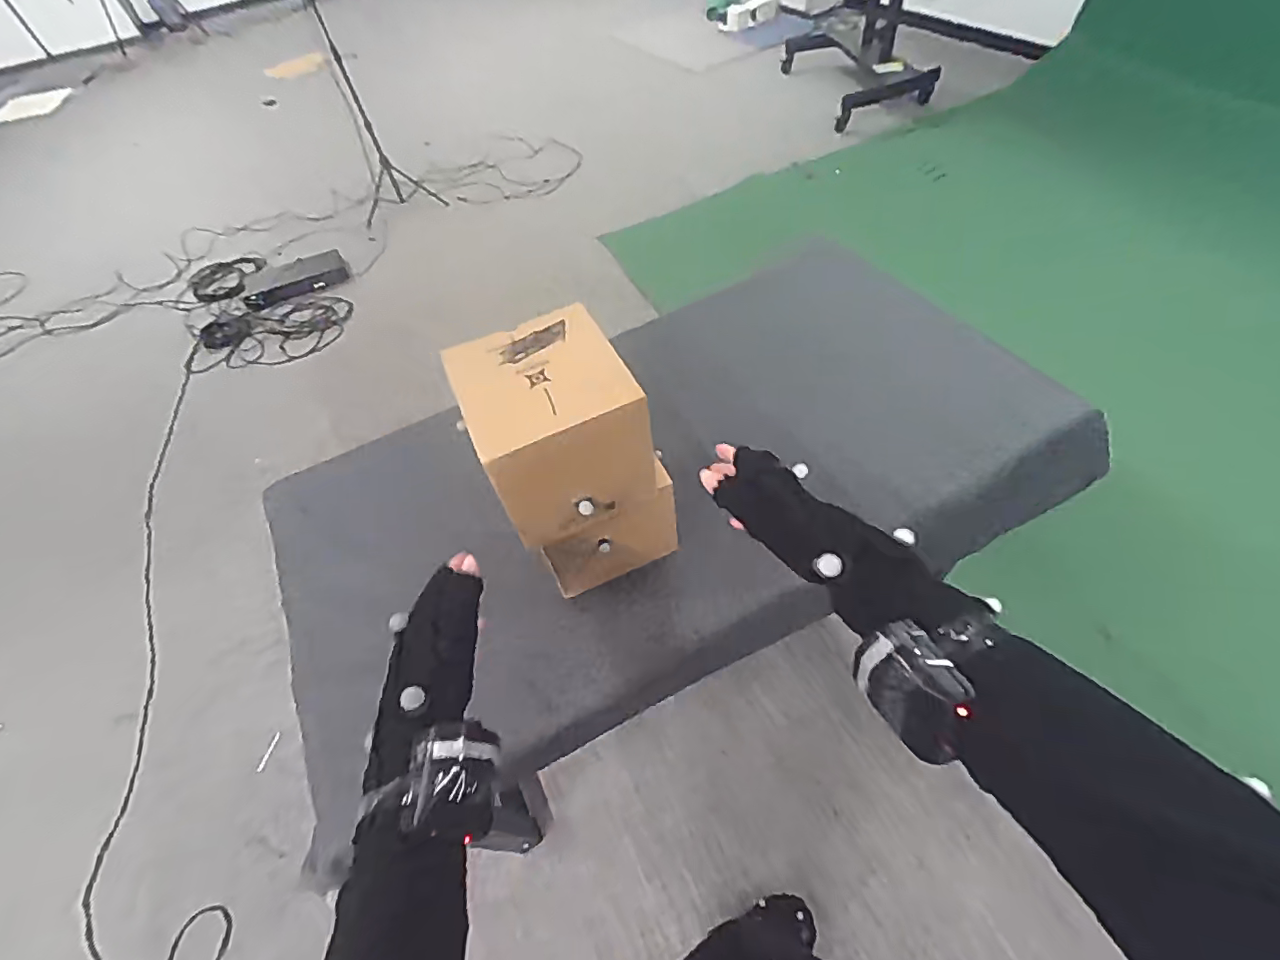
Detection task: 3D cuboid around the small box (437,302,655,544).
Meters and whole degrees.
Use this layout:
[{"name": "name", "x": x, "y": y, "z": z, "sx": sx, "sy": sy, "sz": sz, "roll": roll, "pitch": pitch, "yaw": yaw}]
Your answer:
[{"name": "small box", "x": -0.098, "y": -0.062, "z": 0.605, "sx": 0.168, "sy": 0.176, "sz": 0.179, "roll": -27, "pitch": 53, "yaw": -11}]

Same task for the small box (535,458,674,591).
[{"name": "small box", "x": -0.066, "y": 0.026, "z": 0.742, "sx": 0.179, "sy": 0.176, "sz": 0.168, "roll": -24, "pitch": 55, "yaw": -8}]
